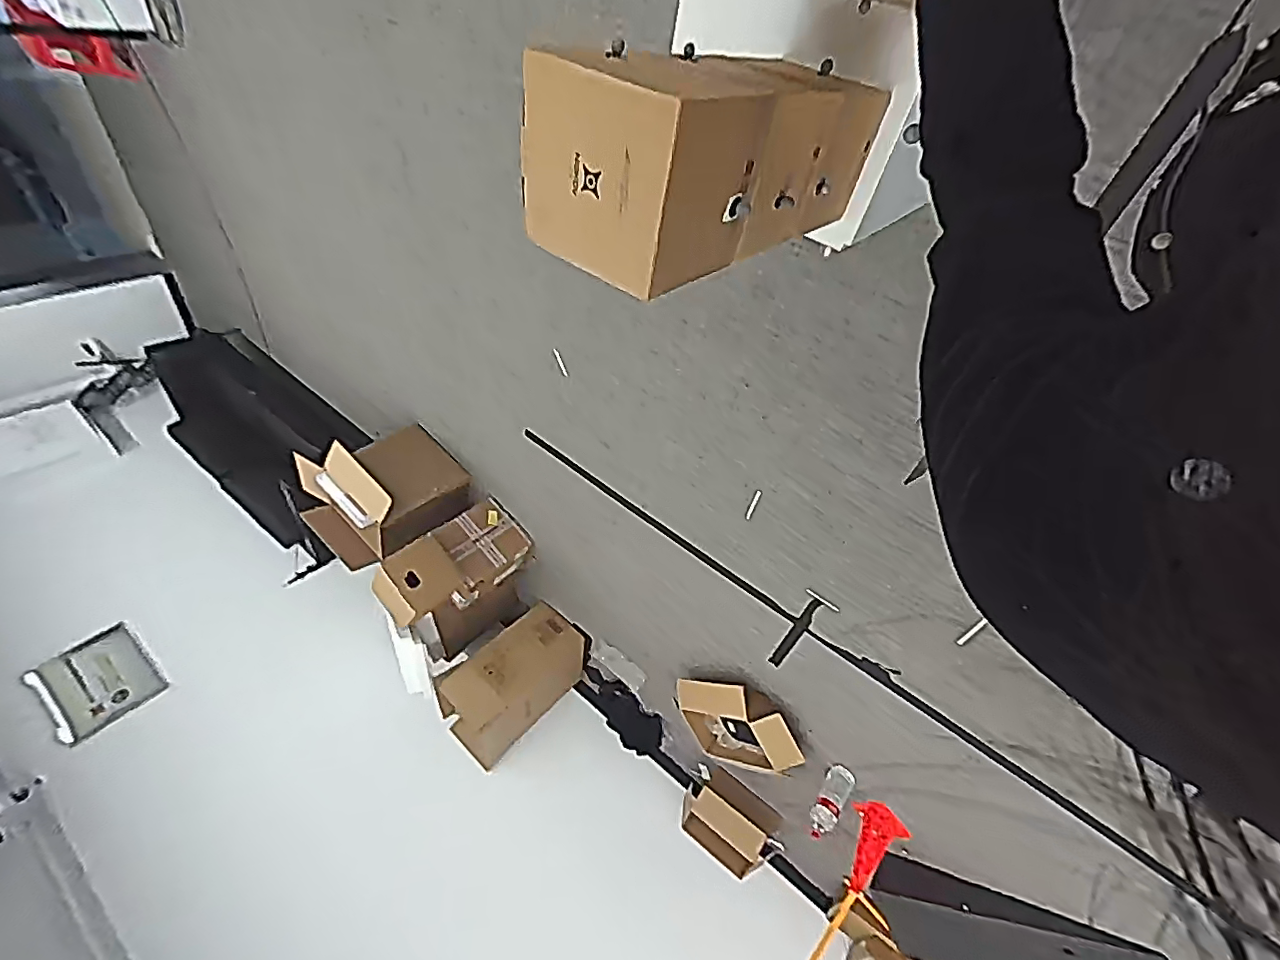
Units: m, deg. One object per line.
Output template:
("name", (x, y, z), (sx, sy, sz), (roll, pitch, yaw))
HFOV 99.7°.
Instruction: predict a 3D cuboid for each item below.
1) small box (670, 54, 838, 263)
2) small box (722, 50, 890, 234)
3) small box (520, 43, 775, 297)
("small box", (0.103, -0.386, 0.639), (0.179, 0.176, 0.168), (34, 138, 22))
("small box", (0.203, -0.464, 0.743), (0.179, 0.176, 0.168), (36, 138, 21))
("small box", (0.002, -0.311, 0.538), (0.179, 0.176, 0.168), (33, 138, 22))
